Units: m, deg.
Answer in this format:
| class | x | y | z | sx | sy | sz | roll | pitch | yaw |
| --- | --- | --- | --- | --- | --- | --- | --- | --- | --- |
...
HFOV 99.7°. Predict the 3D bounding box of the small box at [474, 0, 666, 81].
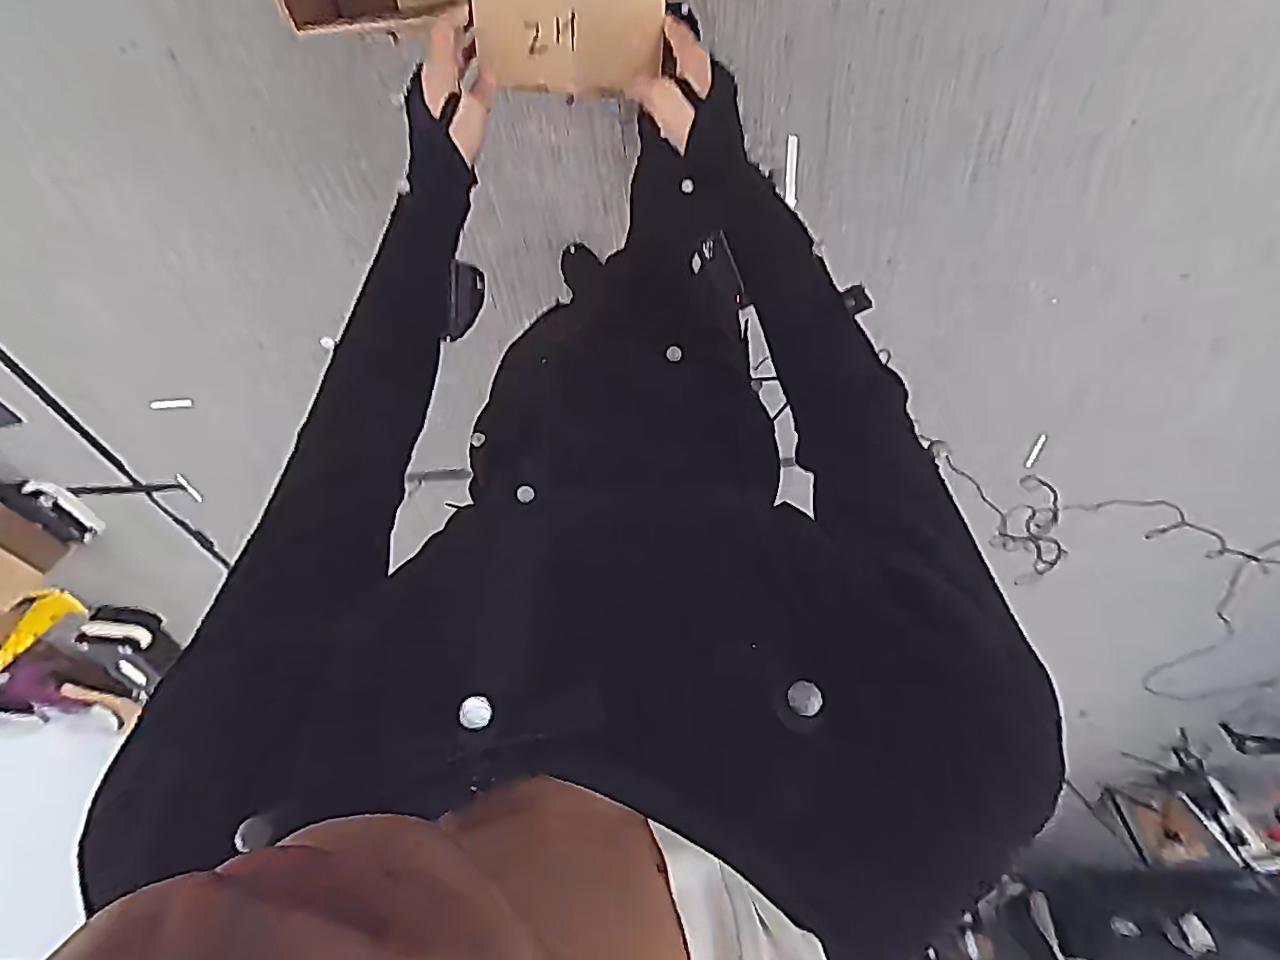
| class | x | y | z | sx | sy | sz | roll | pitch | yaw |
| --- | --- | --- | --- | --- | --- | --- | --- | --- | --- |
| small box | -0.067 | -0.484 | 0.500 | 0.168 | 0.176 | 0.179 | -3 | 129 | -8 |
